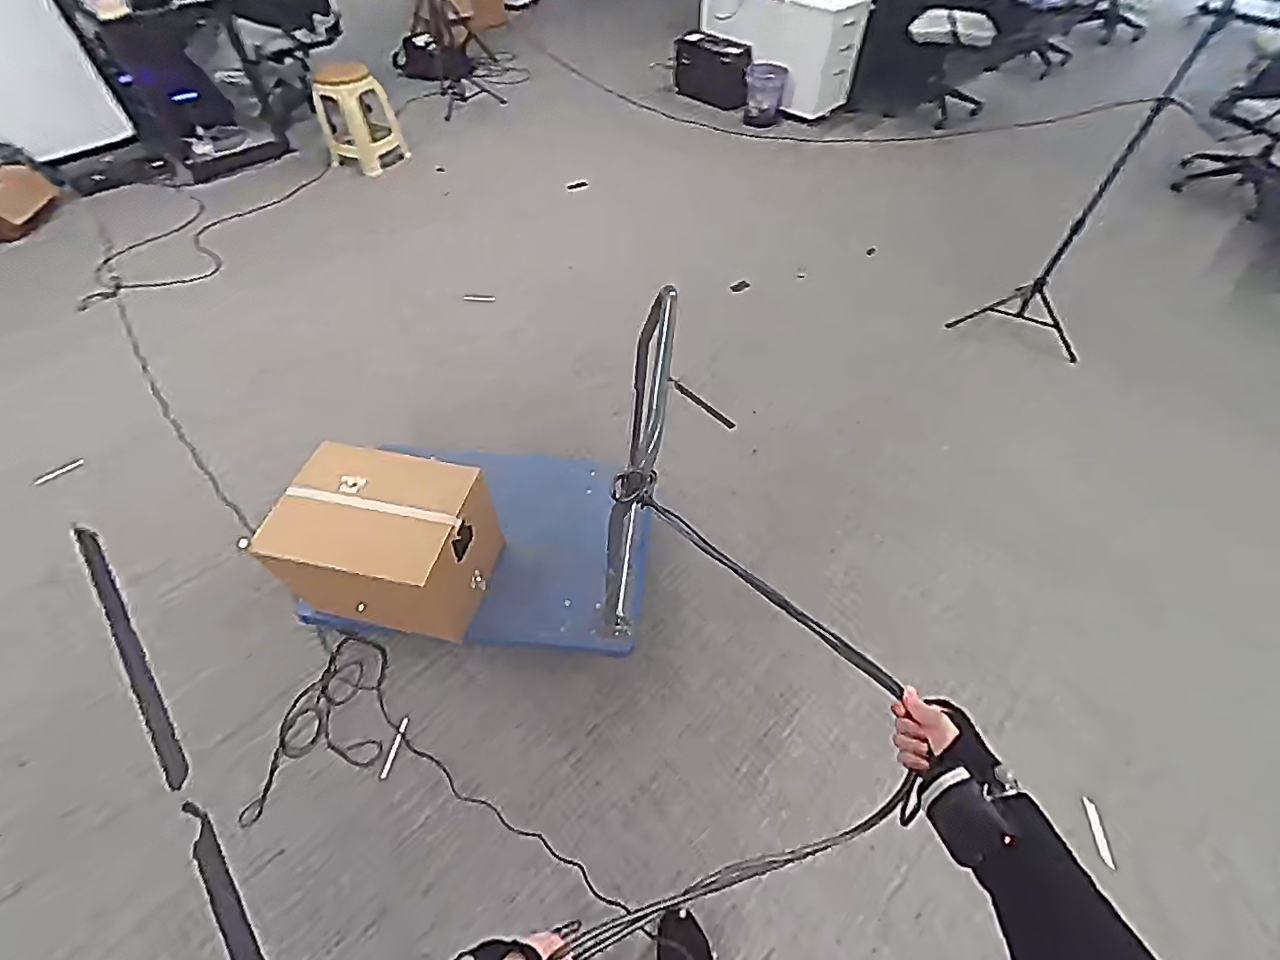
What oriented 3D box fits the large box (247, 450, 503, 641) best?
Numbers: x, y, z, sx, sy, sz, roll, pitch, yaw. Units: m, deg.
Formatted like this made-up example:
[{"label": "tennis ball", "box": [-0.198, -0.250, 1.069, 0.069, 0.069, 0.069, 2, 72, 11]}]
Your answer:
[{"label": "large box", "box": [-0.593, 0.162, 1.305, 0.408, 0.320, 0.320, 9, 53, 7]}]
